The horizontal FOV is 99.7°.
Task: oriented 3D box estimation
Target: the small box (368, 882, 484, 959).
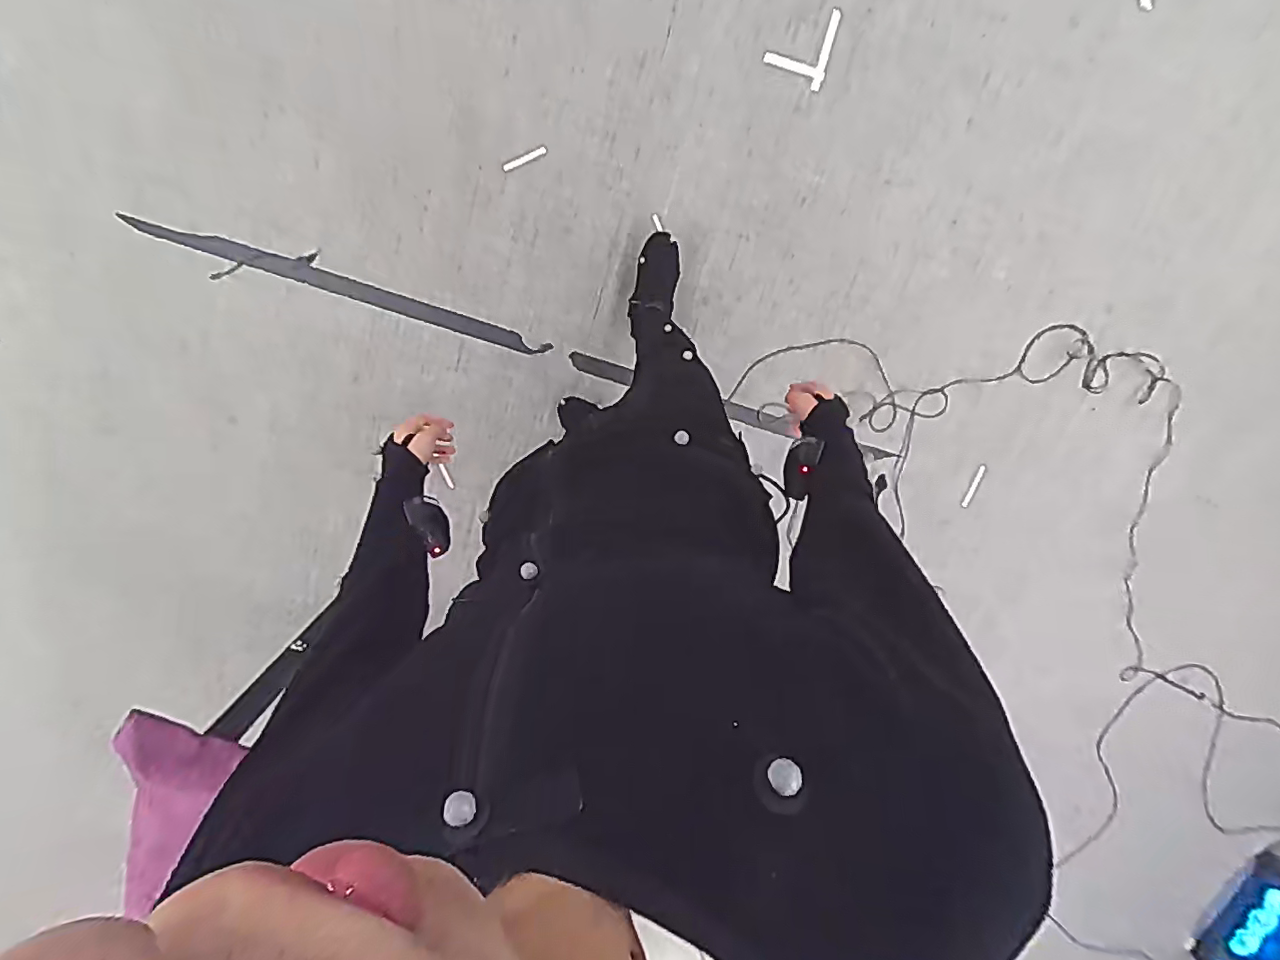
[{"bbox_3d":[-0.420,0.926,1.048,0.179,0.176,0.168,13,107,-5],"label":"small box"}]
